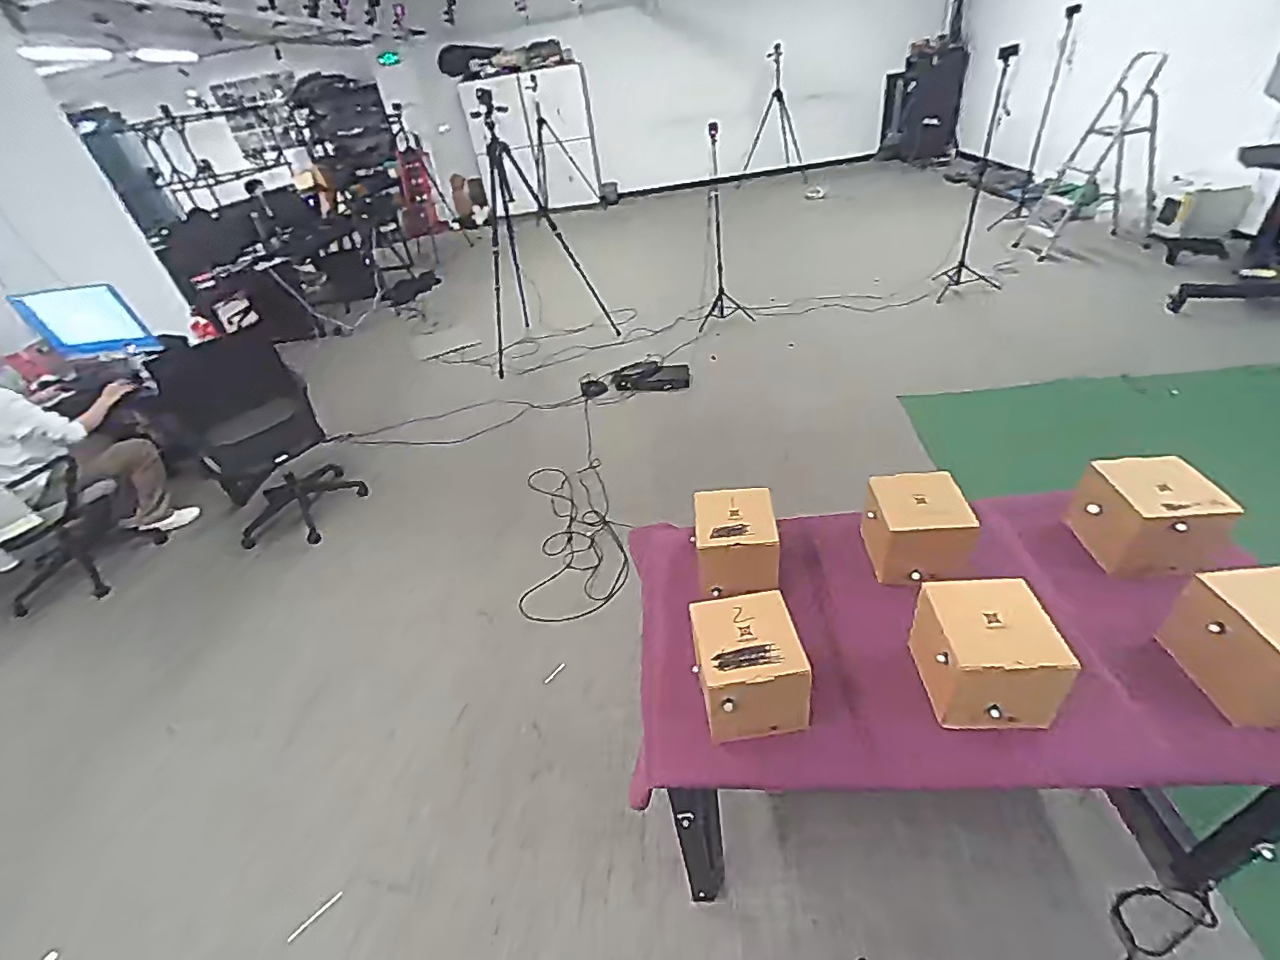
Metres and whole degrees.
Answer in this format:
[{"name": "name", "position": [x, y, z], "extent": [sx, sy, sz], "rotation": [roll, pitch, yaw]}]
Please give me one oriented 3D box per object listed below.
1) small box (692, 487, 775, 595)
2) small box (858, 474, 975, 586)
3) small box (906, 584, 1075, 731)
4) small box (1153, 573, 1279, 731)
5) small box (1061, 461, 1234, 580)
[{"name": "small box", "position": [0.203, 0.138, 1.186], "extent": [0.168, 0.176, 0.179], "rotation": [-3, 39, 6]}, {"name": "small box", "position": [0.578, 0.107, 1.158], "extent": [0.168, 0.176, 0.179], "rotation": [-3, 39, 8]}, {"name": "small box", "position": [0.572, 0.298, 0.916], "extent": [0.168, 0.176, 0.179], "rotation": [-3, 38, 7]}, {"name": "small box", "position": [0.988, 0.271, 0.860], "extent": [0.168, 0.176, 0.179], "rotation": [-6, 37, 6]}, {"name": "small box", "position": [1.010, 0.082, 1.100], "extent": [0.168, 0.176, 0.179], "rotation": [-4, 38, 7]}]
